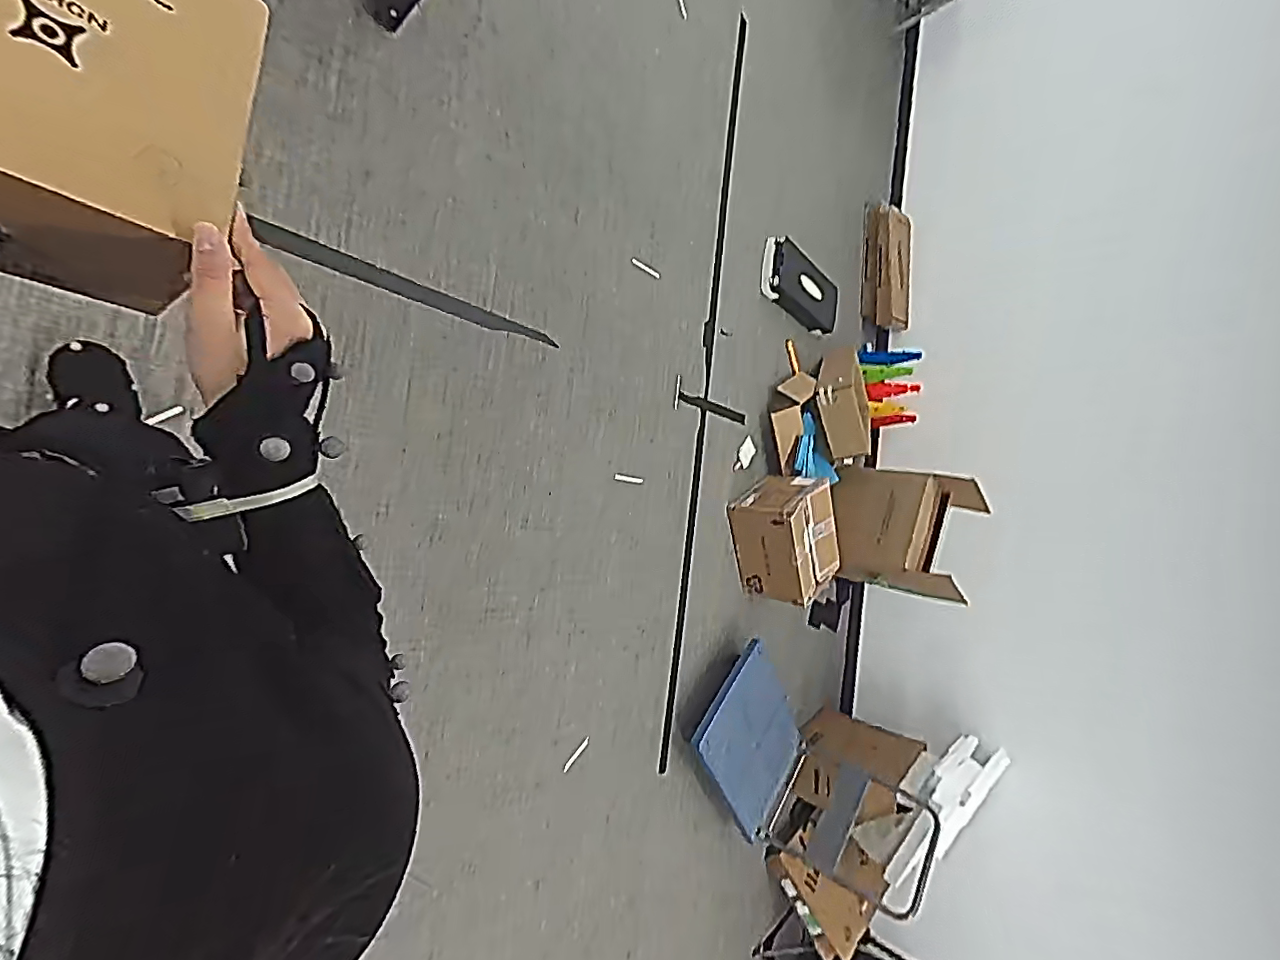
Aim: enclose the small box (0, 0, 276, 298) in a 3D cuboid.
[{"bbox_3d":[-0.351,-0.231,0.319,0.168,0.176,0.179,14,77,-52],"label":"small box"}]
